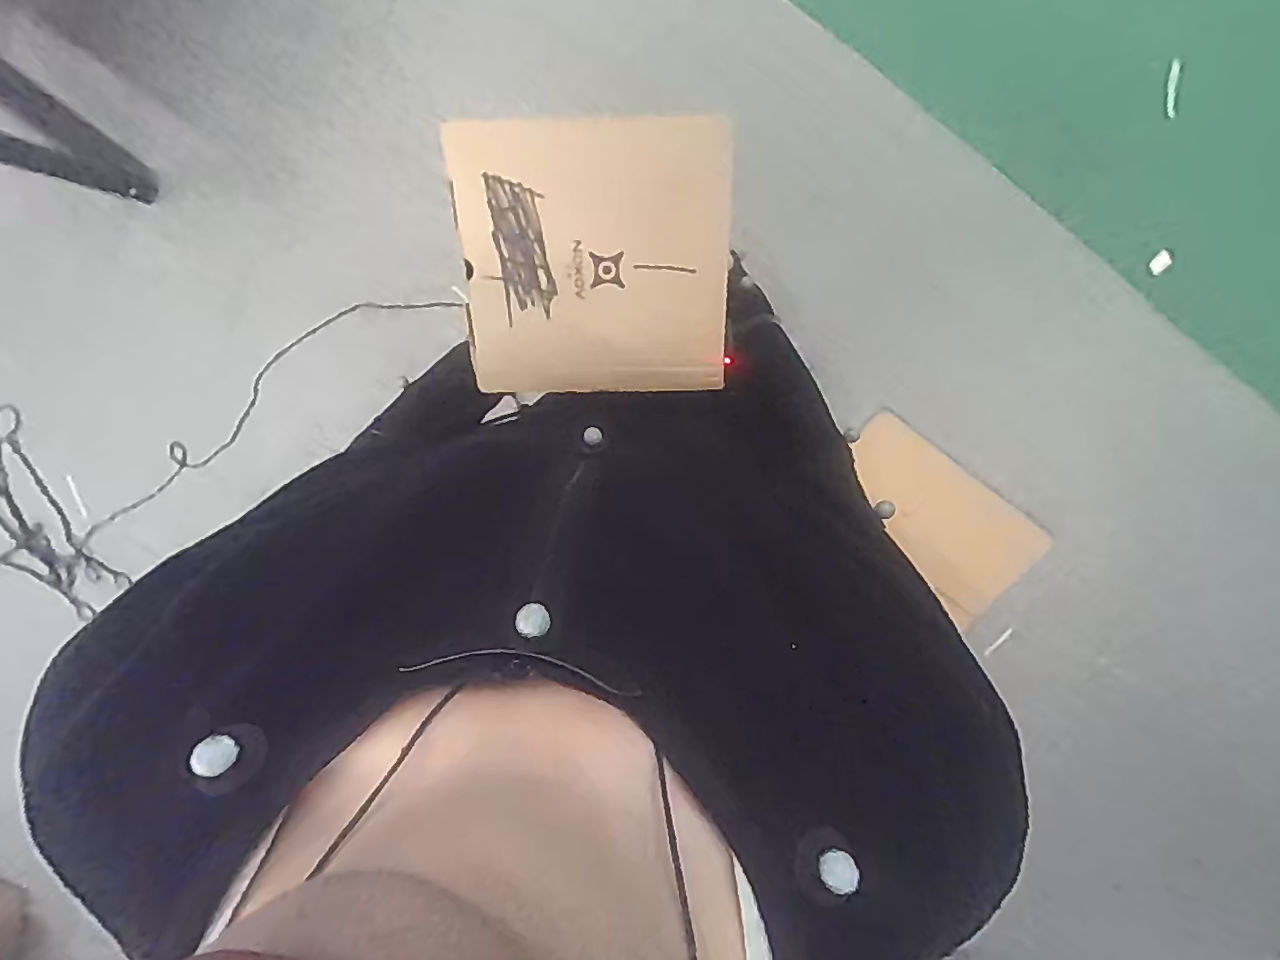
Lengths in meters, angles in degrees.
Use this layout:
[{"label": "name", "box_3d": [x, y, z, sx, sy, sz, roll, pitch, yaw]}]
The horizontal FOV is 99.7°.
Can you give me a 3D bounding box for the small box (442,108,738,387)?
[{"label": "small box", "box_3d": [-0.028, -0.173, 0.417, 0.179, 0.176, 0.168, -1, 116, 1]}]
